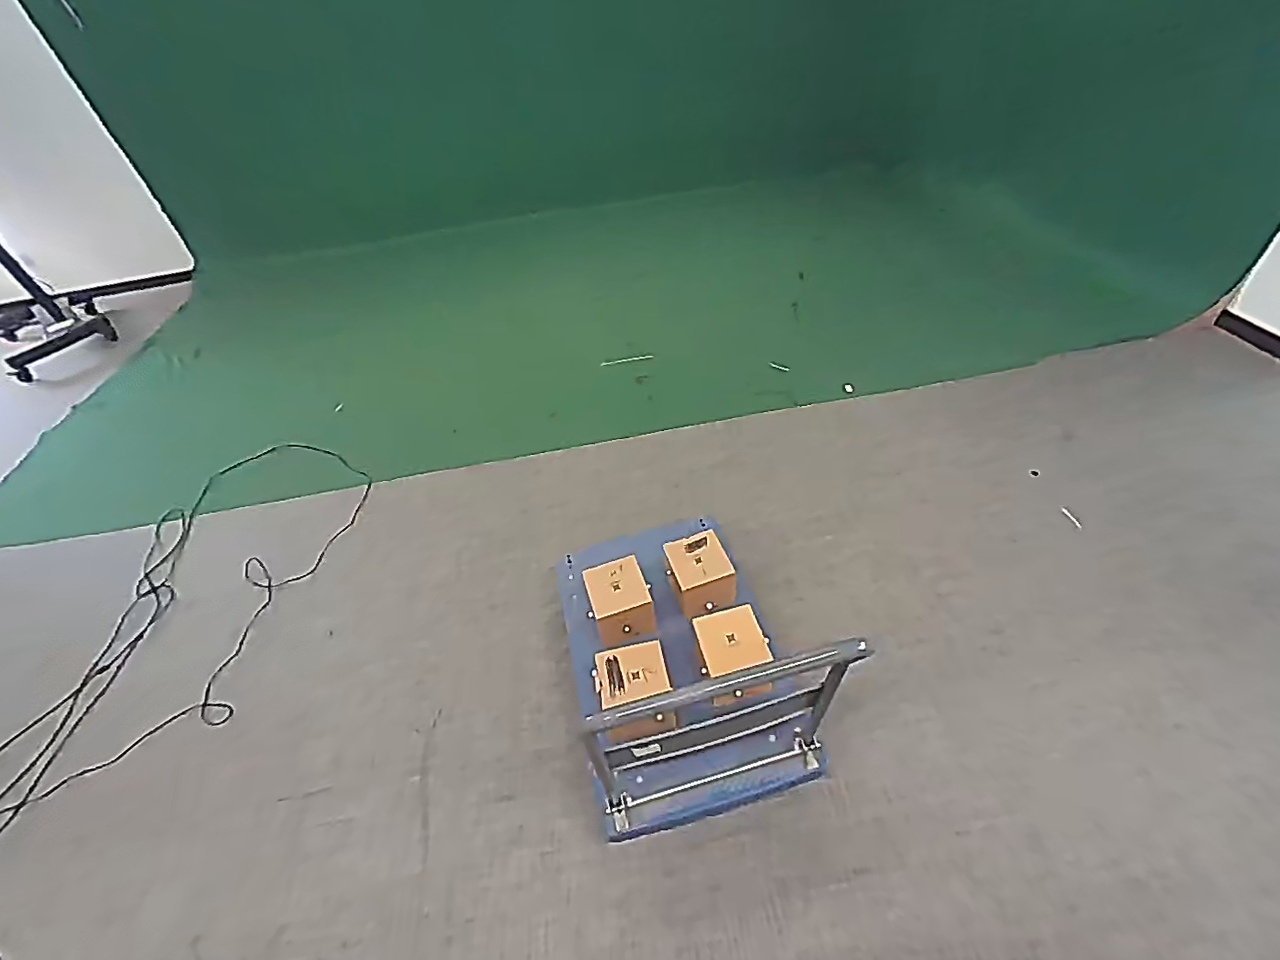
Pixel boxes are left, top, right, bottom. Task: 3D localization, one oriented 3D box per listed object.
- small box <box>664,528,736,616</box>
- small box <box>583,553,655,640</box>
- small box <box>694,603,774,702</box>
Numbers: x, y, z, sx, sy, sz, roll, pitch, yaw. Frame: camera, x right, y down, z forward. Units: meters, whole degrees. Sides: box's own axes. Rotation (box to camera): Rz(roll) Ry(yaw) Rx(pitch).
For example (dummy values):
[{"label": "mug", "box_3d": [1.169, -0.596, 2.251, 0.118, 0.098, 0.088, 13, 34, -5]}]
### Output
[{"label": "small box", "box_3d": [0.180, 0.279, 1.641, 0.168, 0.176, 0.179, -17, 47, -7]}, {"label": "small box", "box_3d": [-0.059, 0.353, 1.605, 0.168, 0.176, 0.179, -16, 46, -8]}, {"label": "small box", "box_3d": [0.245, 0.465, 1.455, 0.168, 0.176, 0.179, -13, 46, -5]}]
